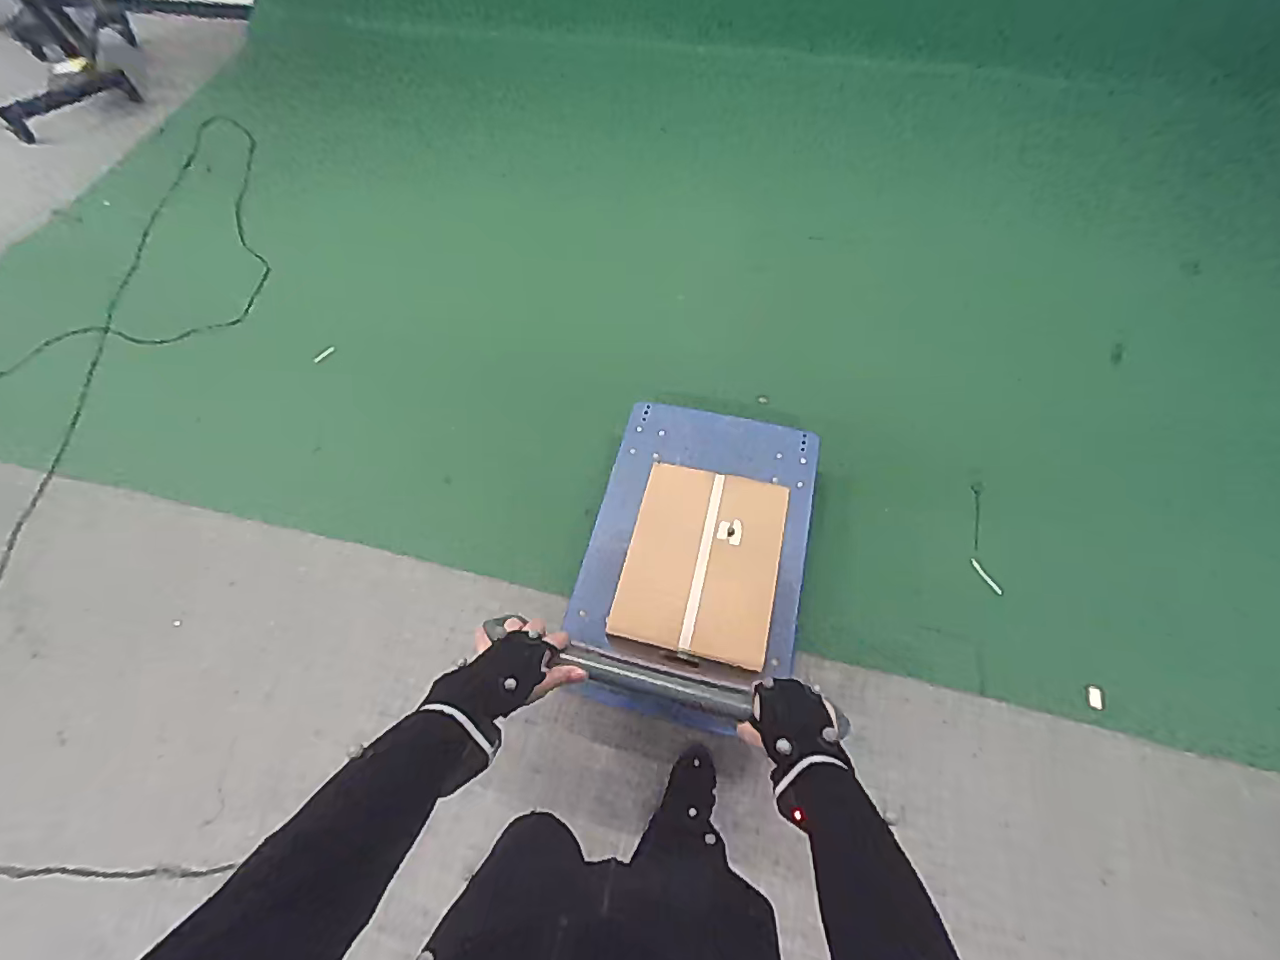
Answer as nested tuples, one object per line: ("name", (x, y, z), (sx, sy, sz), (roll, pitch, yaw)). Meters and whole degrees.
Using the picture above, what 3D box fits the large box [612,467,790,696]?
("large box", (0.144, 0.240, 1.250), (0.320, 0.320, 0.408), (12, 62, 9))
